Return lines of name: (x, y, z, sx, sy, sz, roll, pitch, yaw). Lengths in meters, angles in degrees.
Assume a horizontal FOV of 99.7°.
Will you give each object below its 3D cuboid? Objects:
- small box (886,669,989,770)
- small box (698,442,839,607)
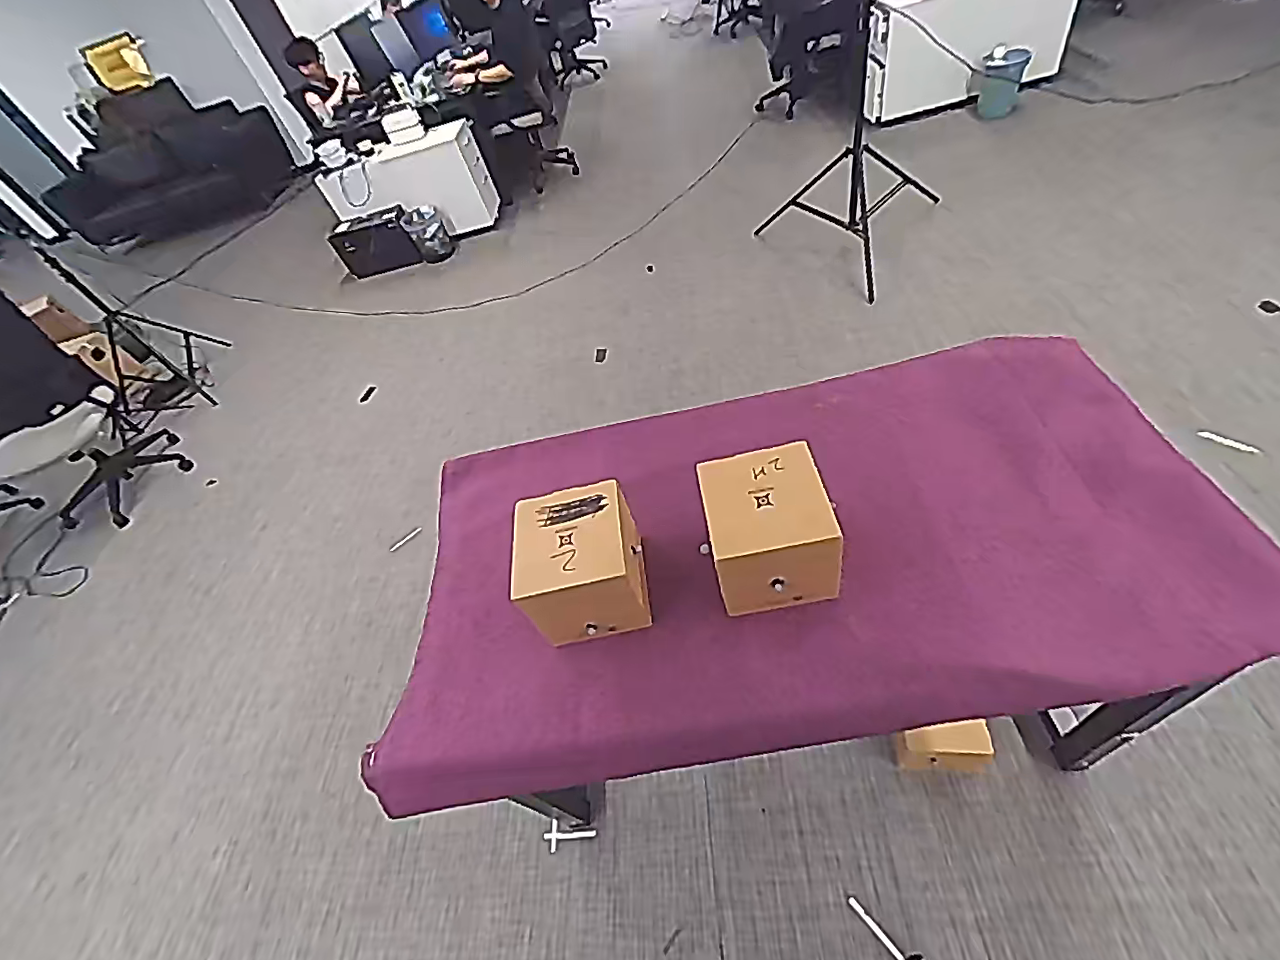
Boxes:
small box: (0.671, 0.551, 1.240, 0.168, 0.176, 0.179, -4, 49, 15)
small box: (0.190, 0.075, 0.810, 0.168, 0.176, 0.179, -11, 48, 7)
